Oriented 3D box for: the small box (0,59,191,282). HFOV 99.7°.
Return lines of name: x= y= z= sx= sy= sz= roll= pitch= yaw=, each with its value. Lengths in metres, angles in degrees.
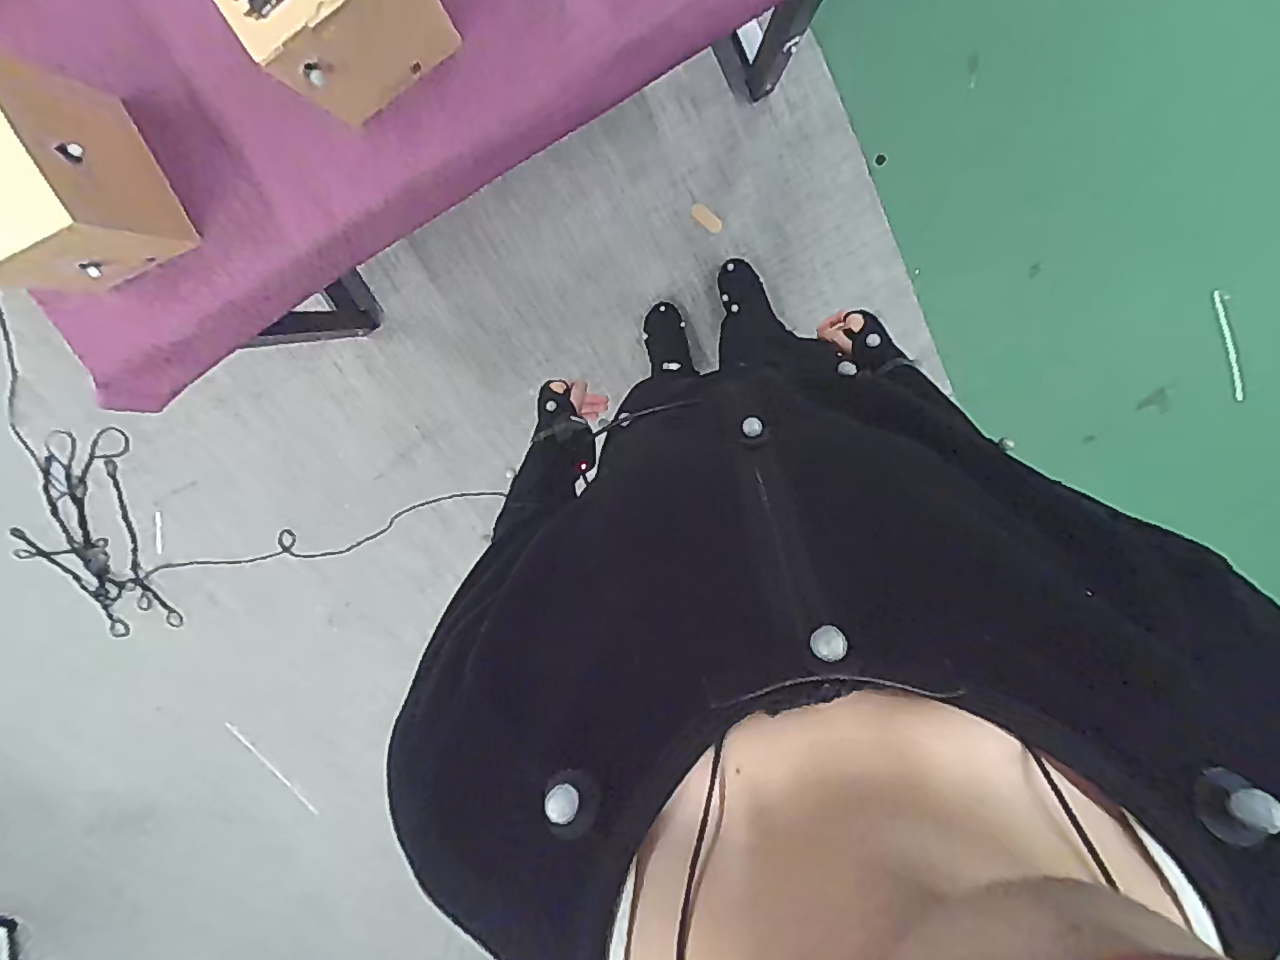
small box: x=-0.665 y=-0.329 z=0.596 sx=0.168 sy=0.176 sz=0.179 roll=-20 pitch=106 yaw=6
